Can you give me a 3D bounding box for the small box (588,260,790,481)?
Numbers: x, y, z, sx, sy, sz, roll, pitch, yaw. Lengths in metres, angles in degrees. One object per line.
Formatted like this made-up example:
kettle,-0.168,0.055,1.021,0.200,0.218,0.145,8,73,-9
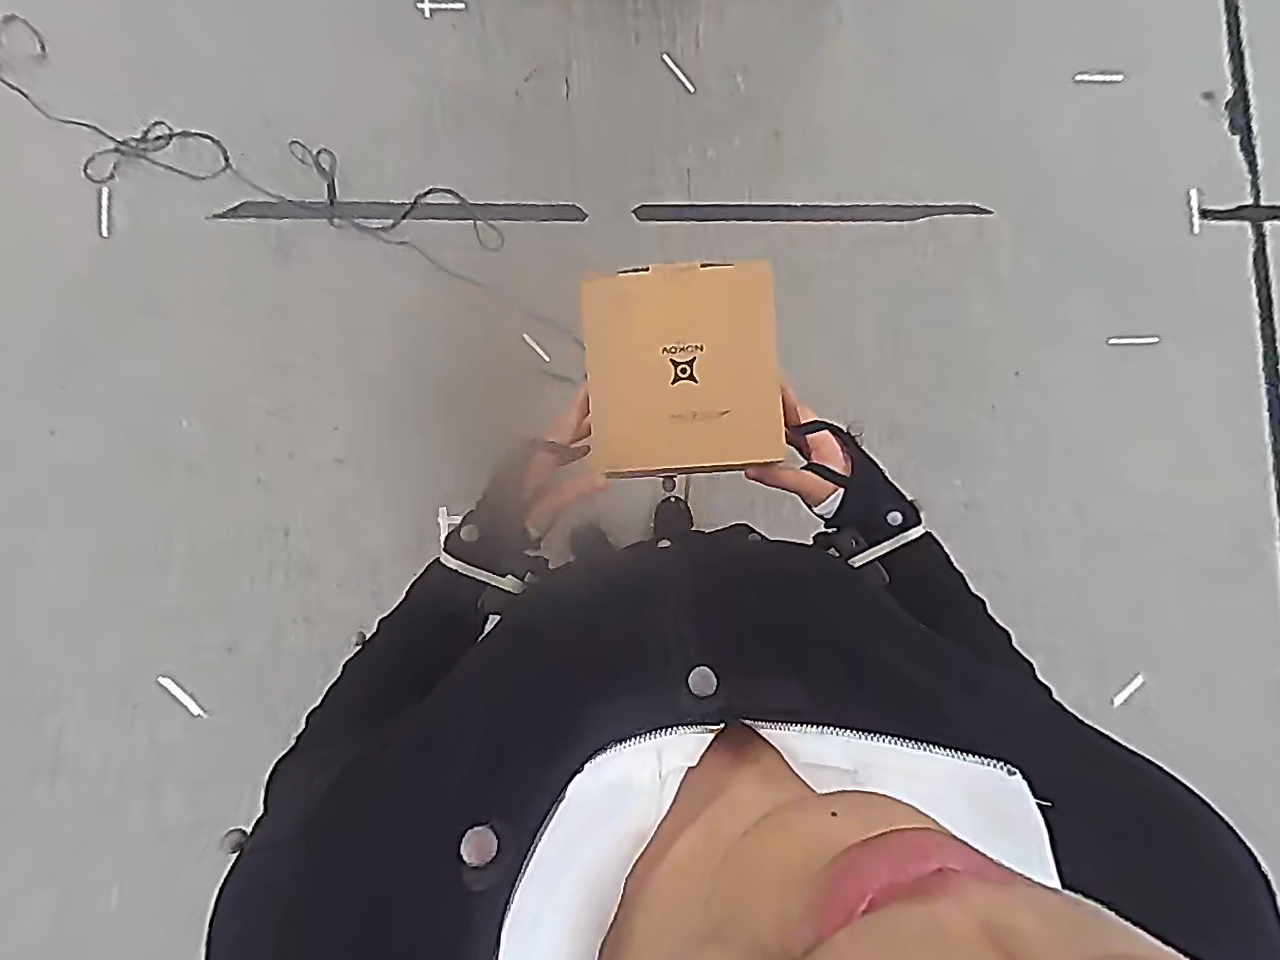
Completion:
small box,0.040,-0.094,0.536,0.168,0.176,0.179,-4,88,0
